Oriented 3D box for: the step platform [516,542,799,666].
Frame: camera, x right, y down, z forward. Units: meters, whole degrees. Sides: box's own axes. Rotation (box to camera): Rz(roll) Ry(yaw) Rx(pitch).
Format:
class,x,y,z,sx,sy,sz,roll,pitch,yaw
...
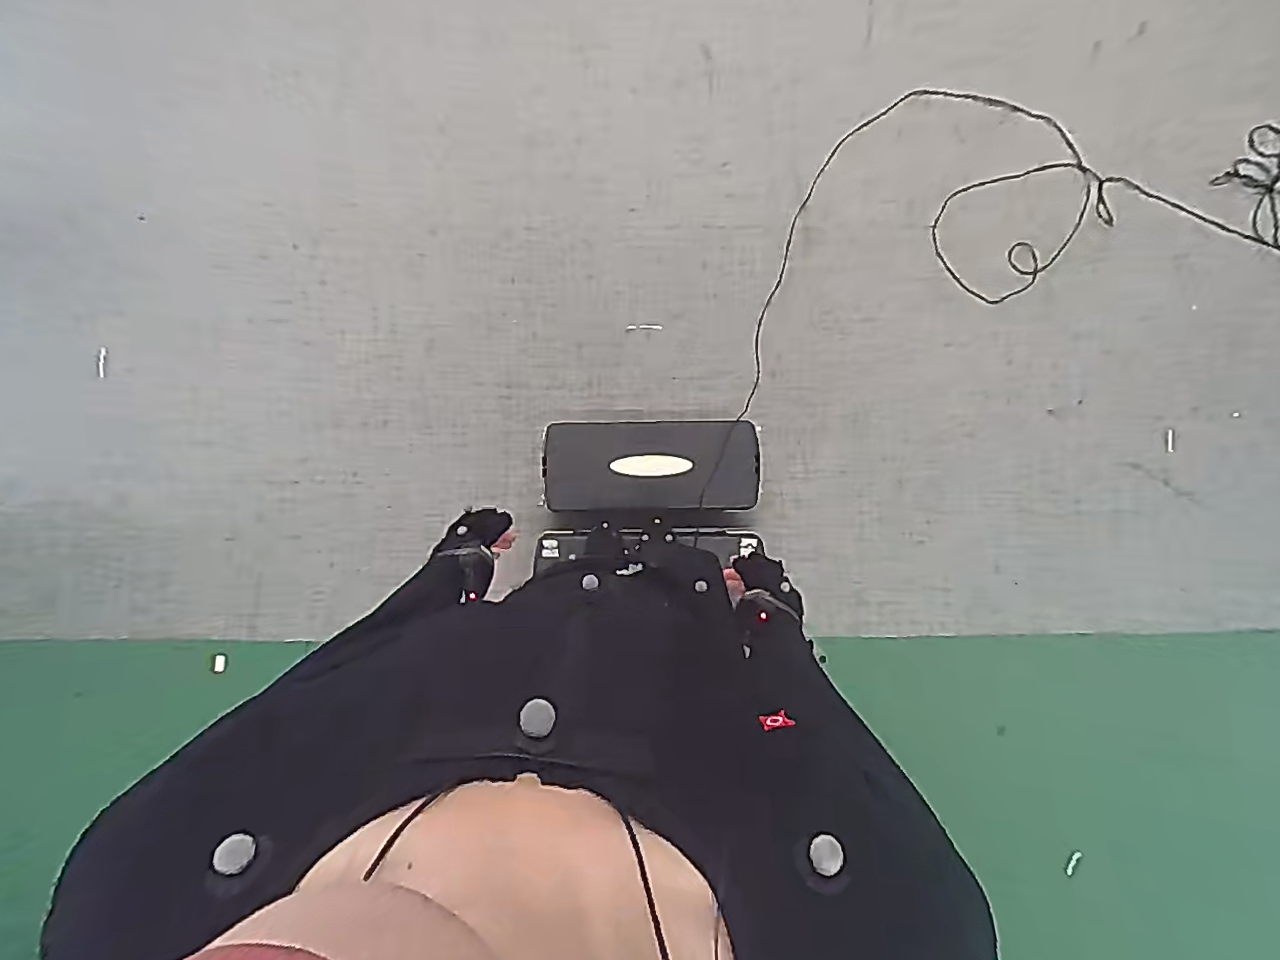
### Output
class,x,y,z,sx,sy,sz,roll,pitch,yaw
step platform,0.041,0.306,1.391,0.684,0.204,0.286,-1,86,-1
